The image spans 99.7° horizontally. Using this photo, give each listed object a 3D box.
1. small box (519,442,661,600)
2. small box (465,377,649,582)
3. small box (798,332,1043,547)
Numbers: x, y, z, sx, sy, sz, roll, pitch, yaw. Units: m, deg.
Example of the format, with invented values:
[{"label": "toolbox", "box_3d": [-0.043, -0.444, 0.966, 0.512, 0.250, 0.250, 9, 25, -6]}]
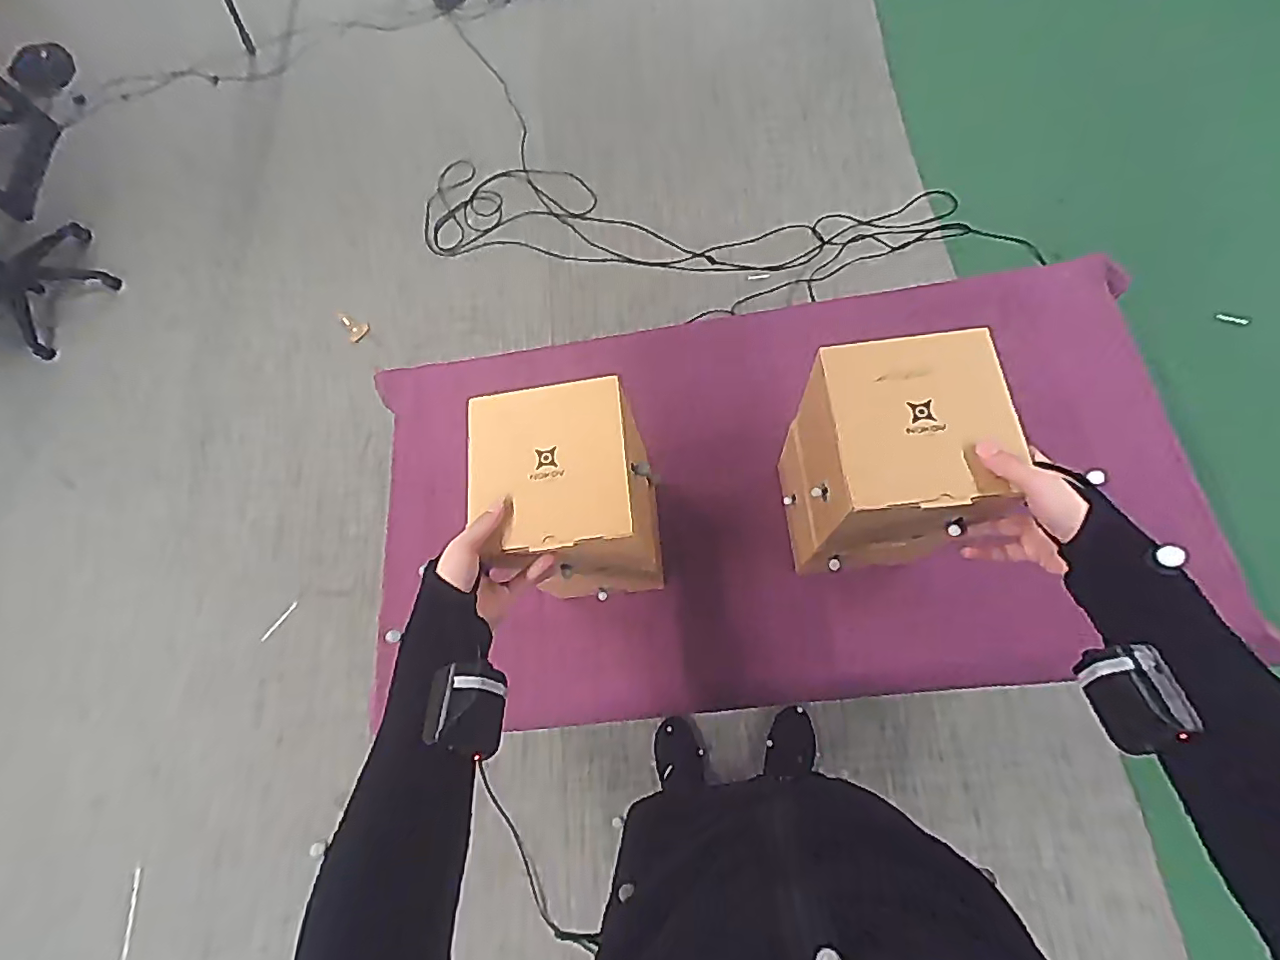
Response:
[{"label": "small box", "box_3d": [-0.064, 0.066, 0.762, 0.168, 0.176, 0.179, -6, 70, 6]}, {"label": "small box", "box_3d": [-0.084, 0.009, 0.610, 0.168, 0.176, 0.179, -8, 71, 4]}, {"label": "small box", "box_3d": [0.273, -0.029, 0.575, 0.168, 0.176, 0.179, -5, 69, 5]}]
